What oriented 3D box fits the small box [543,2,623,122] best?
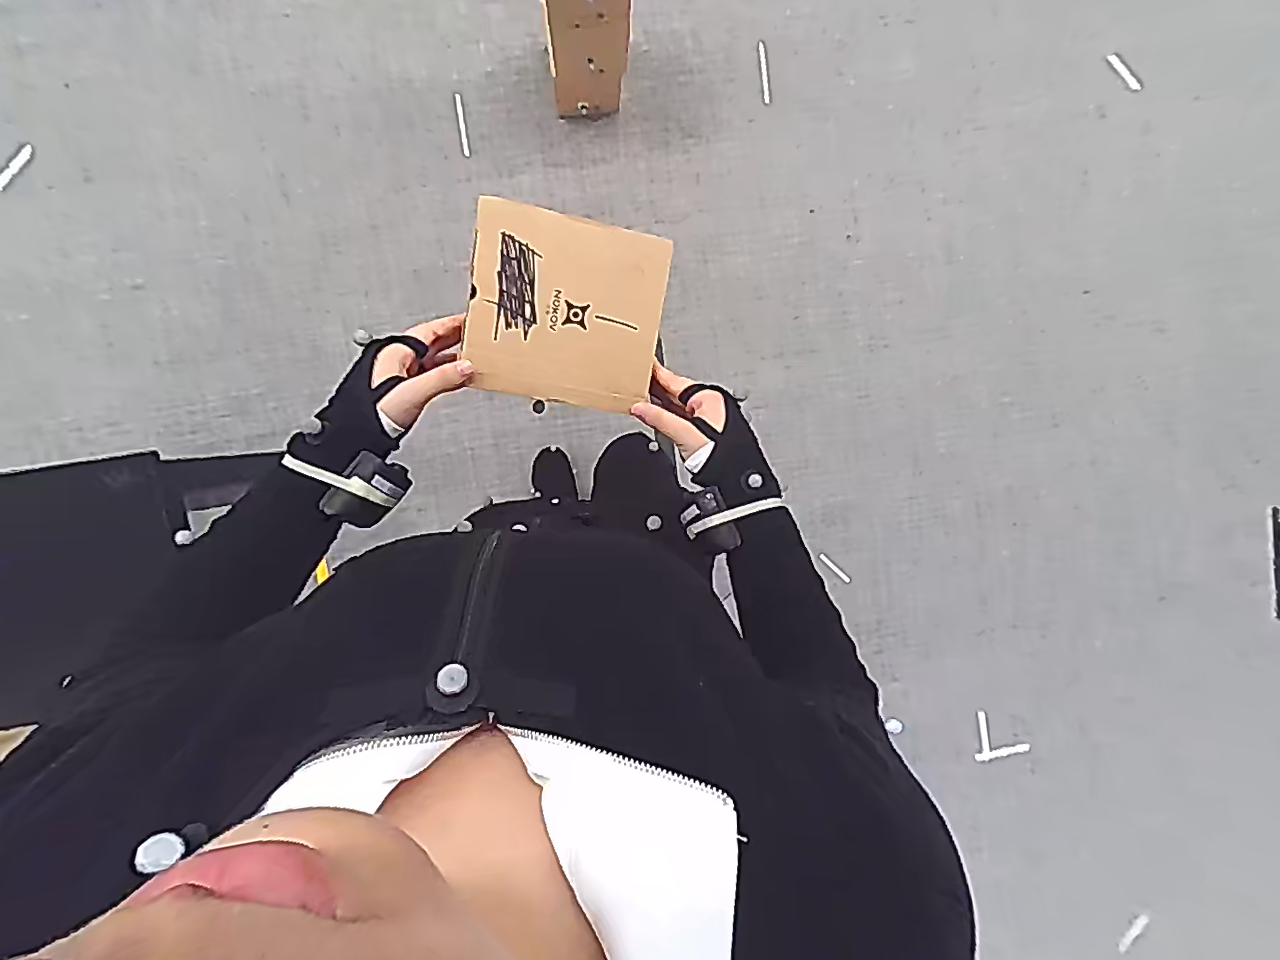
[{"bbox_3d":[-0.136,-1.015,1.316,0.168,0.176,0.179,-9,97,-3],"label":"small box"}]

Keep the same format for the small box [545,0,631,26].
[{"bbox_3d":[-0.104,-0.977,0.990,0.168,0.176,0.179,-8,96,-3],"label":"small box"}]

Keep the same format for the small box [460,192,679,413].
[{"bbox_3d":[-0.075,-0.166,0.562,0.179,0.176,0.168,8,98,-12],"label":"small box"}]

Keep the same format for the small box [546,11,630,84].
[{"bbox_3d":[-0.115,-0.993,1.153,0.168,0.176,0.179,-8,96,-3],"label":"small box"}]
